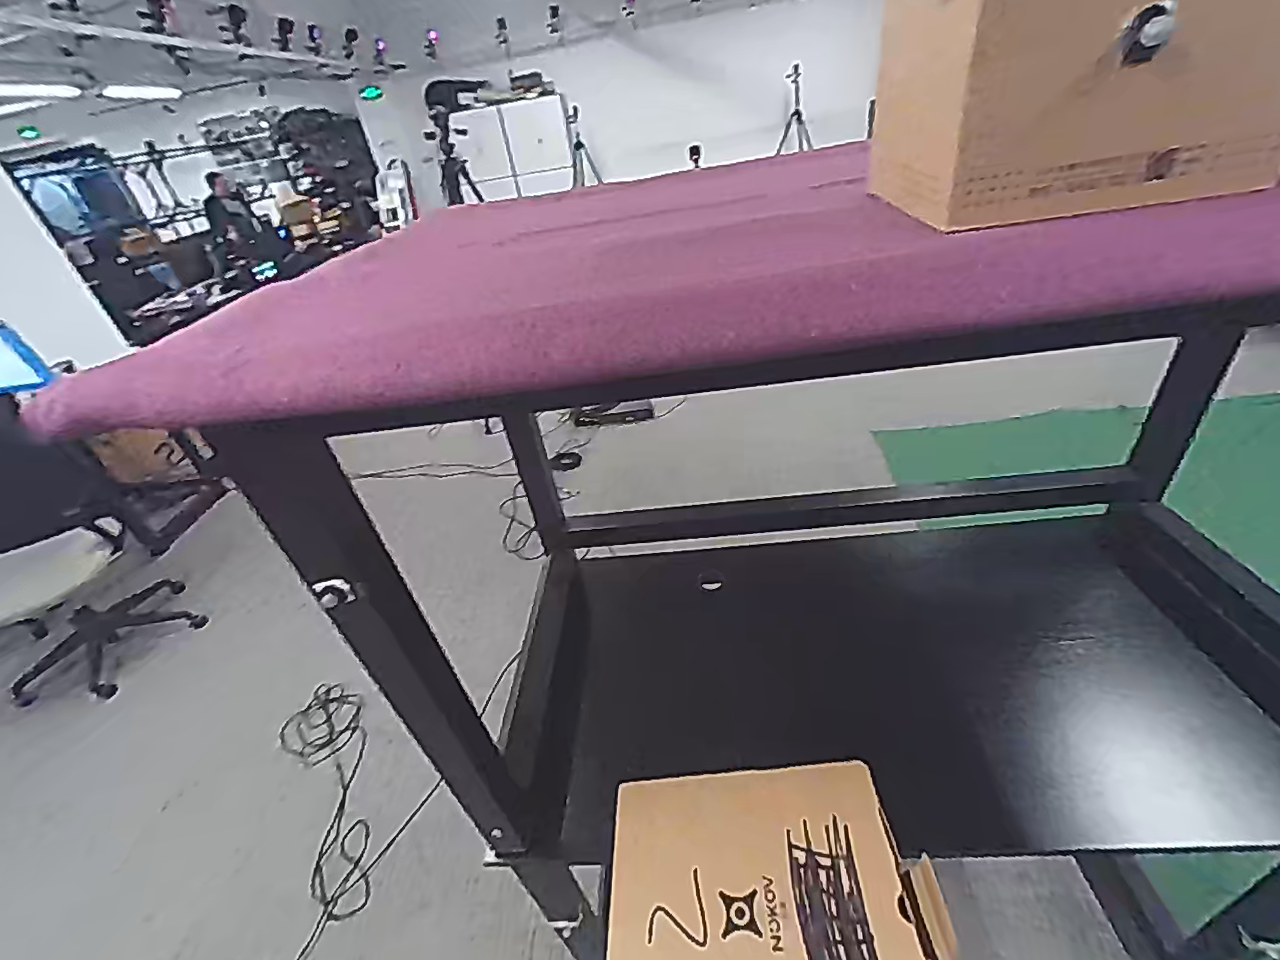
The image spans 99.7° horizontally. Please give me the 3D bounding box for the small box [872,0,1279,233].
[{"bbox_3d":[0.253,-0.257,0.327,0.168,0.176,0.179,-4,35,8],"label":"small box"}]
